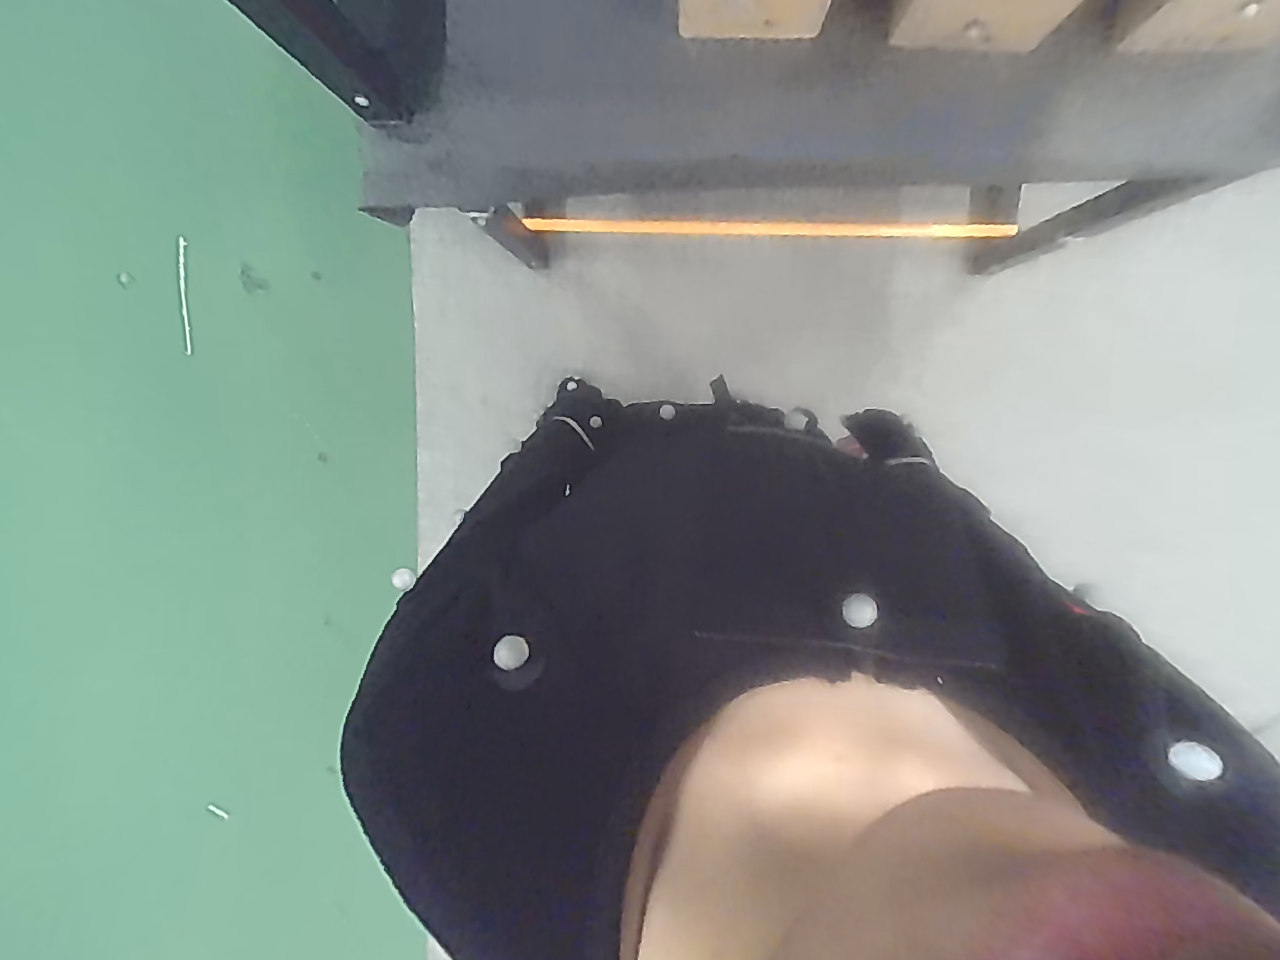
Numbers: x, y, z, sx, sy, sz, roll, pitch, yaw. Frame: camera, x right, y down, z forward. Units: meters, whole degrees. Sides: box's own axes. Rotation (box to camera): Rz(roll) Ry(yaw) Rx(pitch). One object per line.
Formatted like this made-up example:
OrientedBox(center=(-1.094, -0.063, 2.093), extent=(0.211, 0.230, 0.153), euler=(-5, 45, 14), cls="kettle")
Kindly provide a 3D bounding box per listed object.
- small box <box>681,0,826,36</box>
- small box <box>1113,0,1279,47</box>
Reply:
OrientedBox(center=(0.129, -0.607, 0.563), extent=(0.168, 0.176, 0.179), euler=(3, 99, 4), cls="small box")
OrientedBox(center=(0.619, -0.566, 0.529), extent=(0.168, 0.176, 0.179), euler=(2, 98, 4), cls="small box")
